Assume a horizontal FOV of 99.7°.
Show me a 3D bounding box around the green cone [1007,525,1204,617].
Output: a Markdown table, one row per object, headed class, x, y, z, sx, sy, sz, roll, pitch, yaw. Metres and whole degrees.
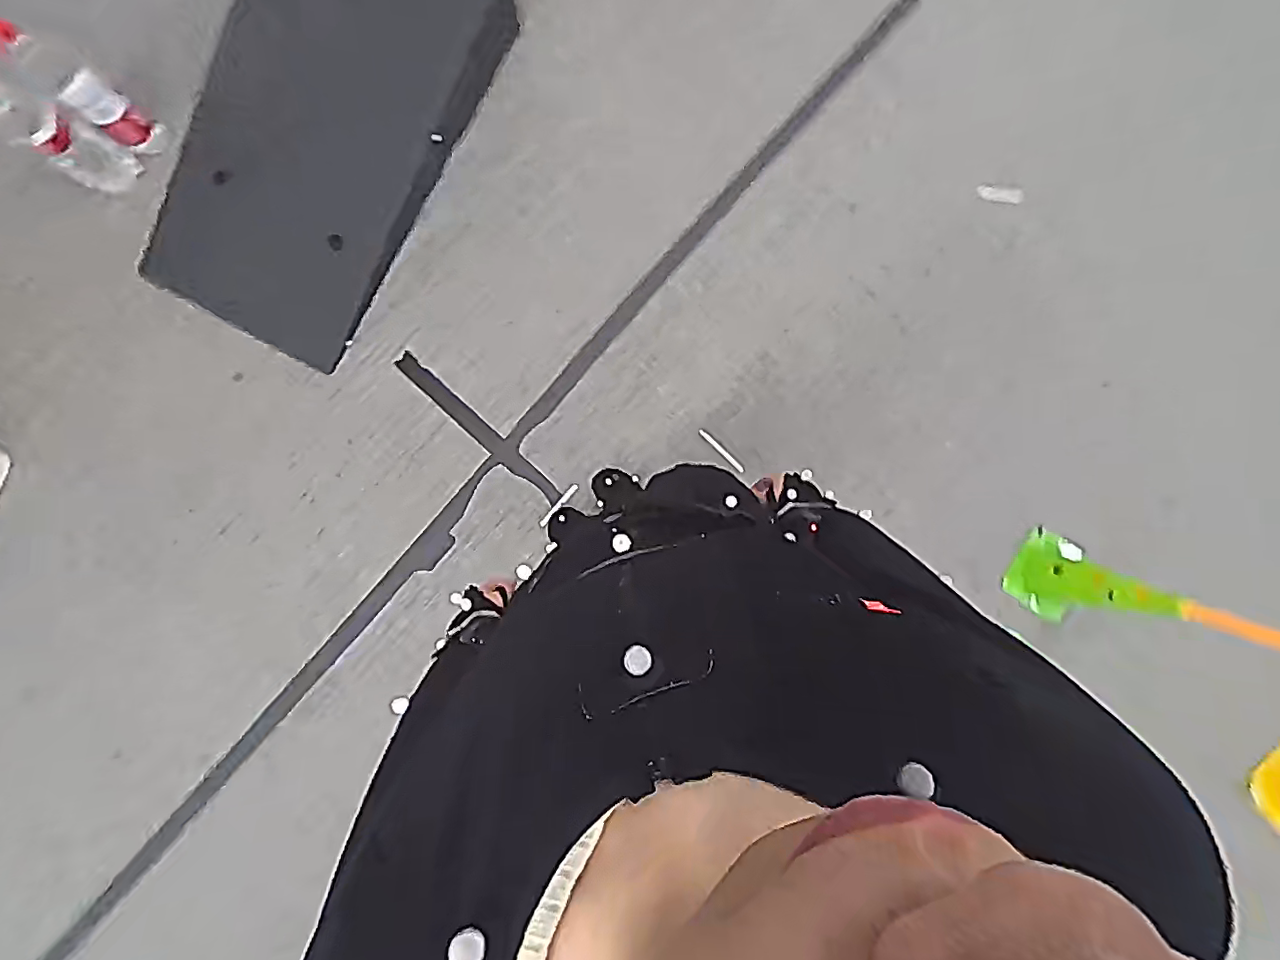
| class | x | y | z | sx | sy | sz | roll | pitch | yaw |
| --- | --- | --- | --- | --- | --- | --- | --- | --- | --- |
| green cone | 1.131 | 0.257 | 1.298 | 0.202 | 0.368 | 0.200 | 31 | 90 | -7 |
